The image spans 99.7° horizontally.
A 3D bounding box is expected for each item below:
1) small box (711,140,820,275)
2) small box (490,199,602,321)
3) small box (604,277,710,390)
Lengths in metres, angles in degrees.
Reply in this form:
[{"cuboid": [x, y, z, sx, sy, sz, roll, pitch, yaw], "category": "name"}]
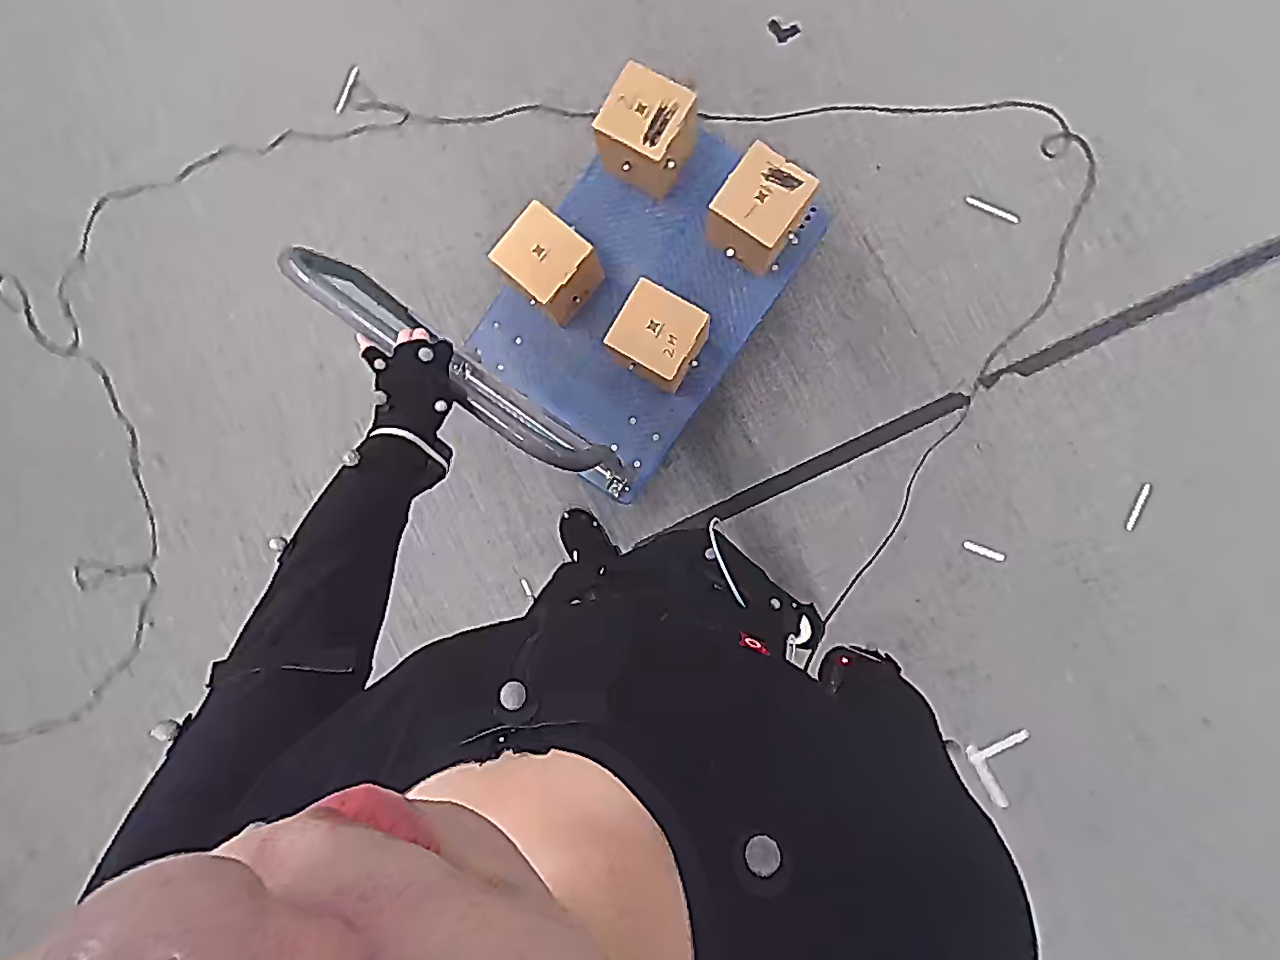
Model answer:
[{"cuboid": [0.271, -0.604, 1.219, 0.168, 0.176, 0.179, 37, 94, 5], "category": "small box"}, {"cuboid": [-0.210, -0.500, 1.261, 0.179, 0.176, 0.168, 40, 92, 3], "category": "small box"}, {"cuboid": [0.042, -0.324, 1.235, 0.179, 0.176, 0.168, 32, 92, 5], "category": "small box"}]
